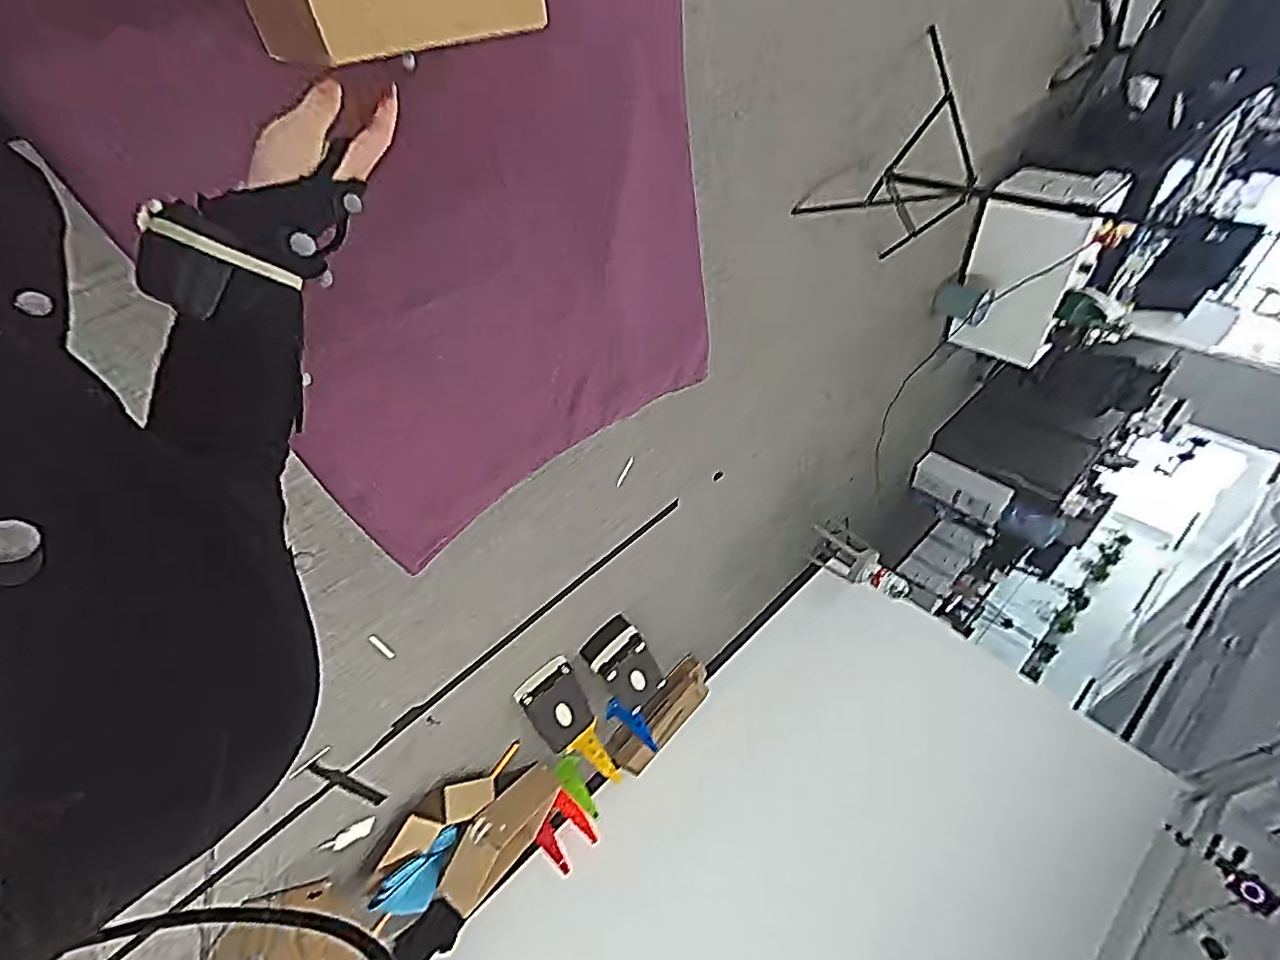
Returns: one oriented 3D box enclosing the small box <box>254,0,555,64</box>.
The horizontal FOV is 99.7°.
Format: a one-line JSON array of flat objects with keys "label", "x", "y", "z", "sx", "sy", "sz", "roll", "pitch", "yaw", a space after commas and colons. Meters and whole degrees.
[{"label": "small box", "x": -0.191, "y": -0.418, "z": 0.388, "sx": 0.179, "sy": 0.176, "sz": 0.168, "roll": -34, "pitch": 140, "yaw": -25}]
